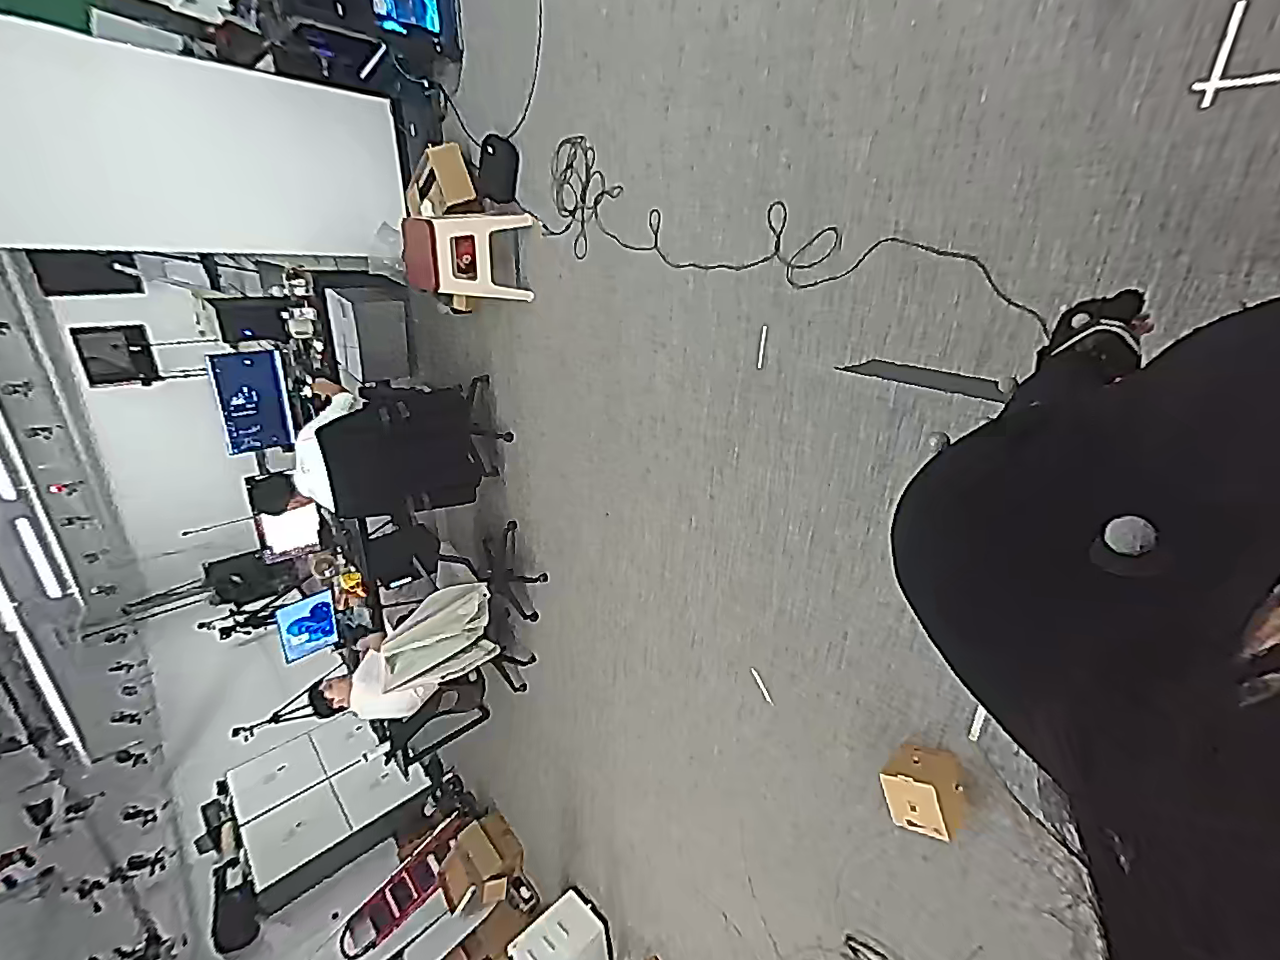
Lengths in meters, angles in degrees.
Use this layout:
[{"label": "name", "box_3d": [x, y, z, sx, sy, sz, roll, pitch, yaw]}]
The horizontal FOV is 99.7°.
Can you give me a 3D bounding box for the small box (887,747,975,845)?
[{"label": "small box", "box_3d": [0.880, 0.942, 1.633, 0.168, 0.176, 0.179, -14, 92, 50]}]
